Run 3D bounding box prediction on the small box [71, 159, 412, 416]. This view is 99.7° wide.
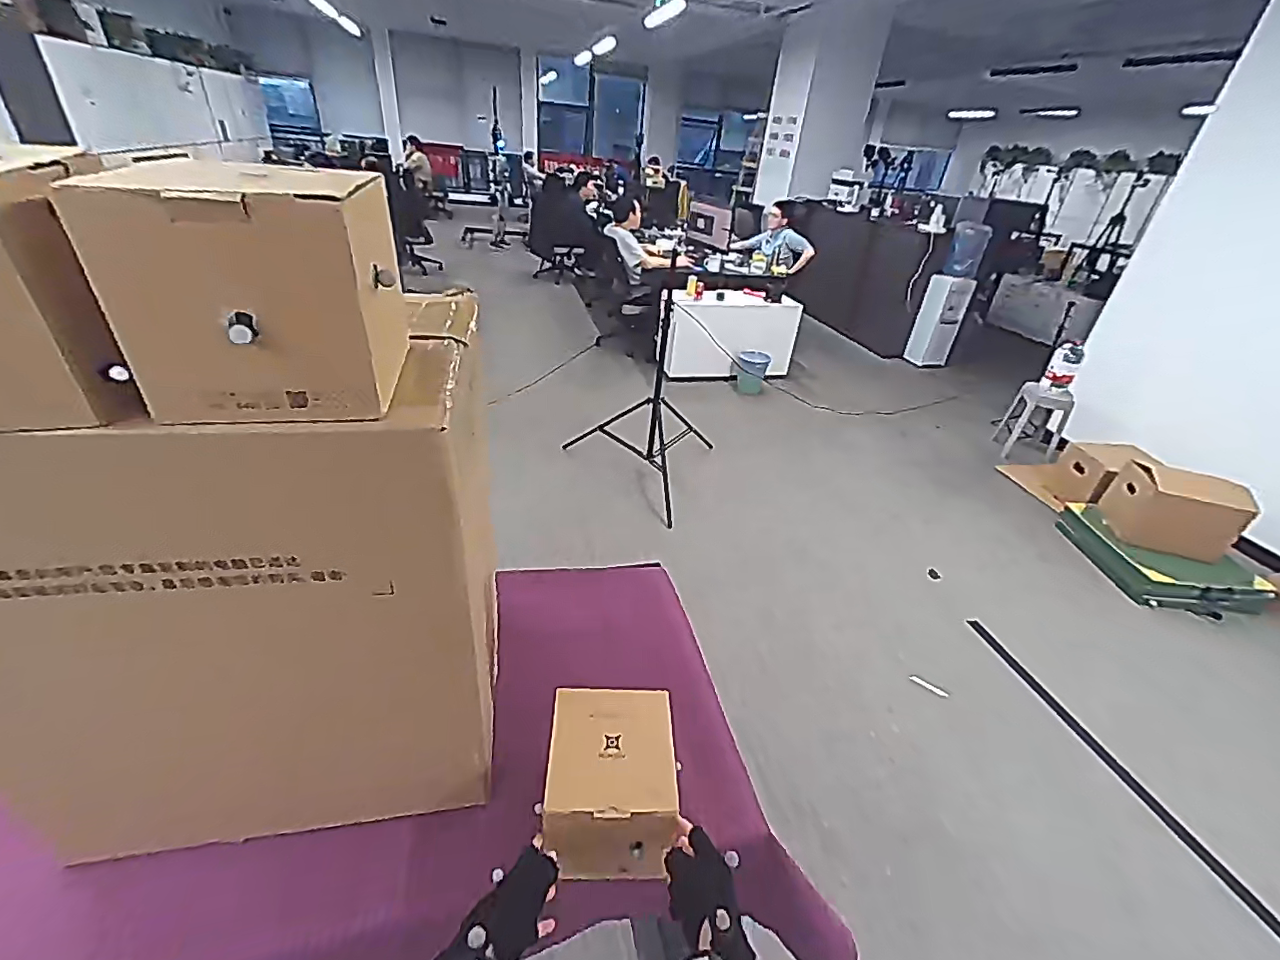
[{"bbox_3d":[-0.299,-0.163,0.462,0.168,0.176,0.179,-2,35,-14],"label":"small box"}]

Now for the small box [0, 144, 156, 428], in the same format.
[{"bbox_3d":[-0.495,-0.145,0.400,0.179,0.176,0.168,-7,36,-18],"label":"small box"}]

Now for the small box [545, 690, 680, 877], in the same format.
[{"bbox_3d":[-0.040,0.421,0.754,0.168,0.176,0.179,4,30,-5],"label":"small box"}]
